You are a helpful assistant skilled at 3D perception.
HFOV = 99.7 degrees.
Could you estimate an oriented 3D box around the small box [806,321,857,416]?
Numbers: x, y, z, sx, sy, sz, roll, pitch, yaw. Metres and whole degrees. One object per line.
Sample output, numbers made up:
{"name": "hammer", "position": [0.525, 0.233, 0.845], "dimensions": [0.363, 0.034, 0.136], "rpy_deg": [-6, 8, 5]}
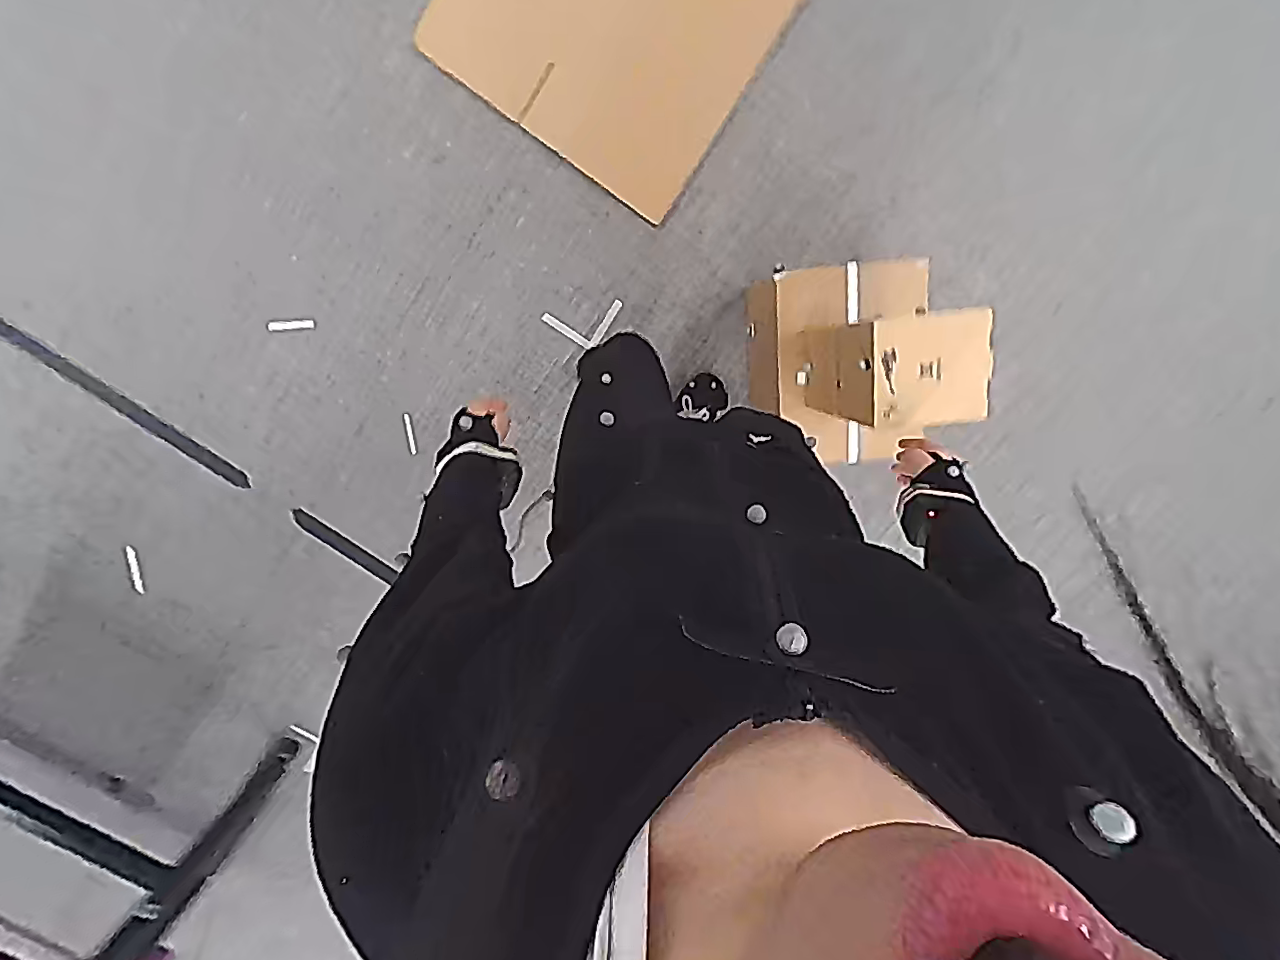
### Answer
{"name": "small box", "position": [0.431, -0.221, 1.040], "dimensions": [0.179, 0.176, 0.168], "rpy_deg": [-5, 103, 2]}

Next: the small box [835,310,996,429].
{"name": "small box", "position": [0.435, -0.182, 0.879], "dimensions": [0.179, 0.176, 0.168], "rpy_deg": [-5, 103, 0]}
